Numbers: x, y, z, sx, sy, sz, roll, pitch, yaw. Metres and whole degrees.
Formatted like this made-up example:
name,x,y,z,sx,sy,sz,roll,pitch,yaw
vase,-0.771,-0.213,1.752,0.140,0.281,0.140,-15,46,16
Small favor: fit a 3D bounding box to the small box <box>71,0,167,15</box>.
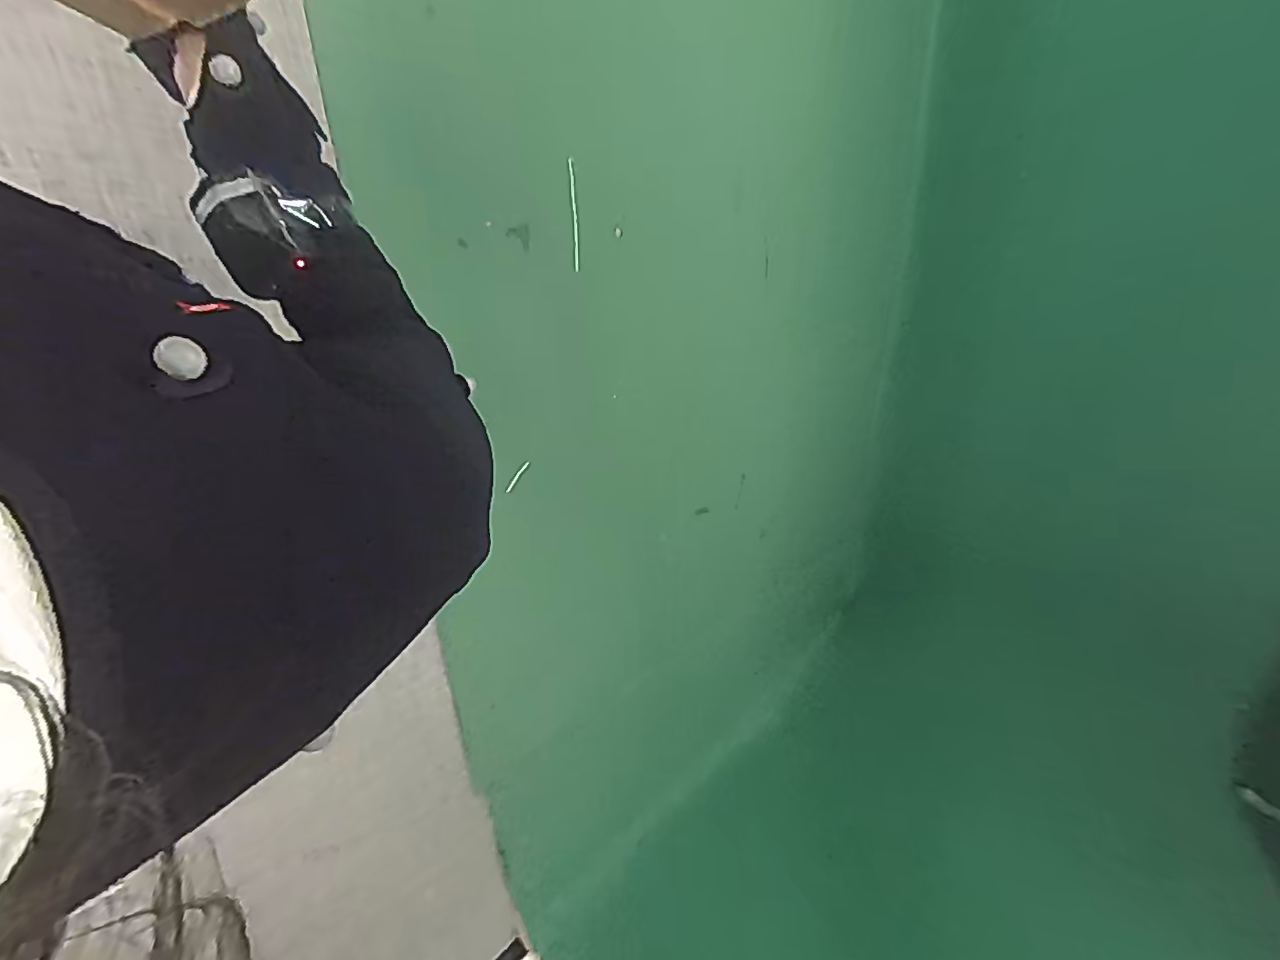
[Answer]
name,x,y,z,sx,sy,sz,roll,pitch,yaw
small box,-0.288,-0.334,0.210,0.168,0.176,0.179,5,112,-50
